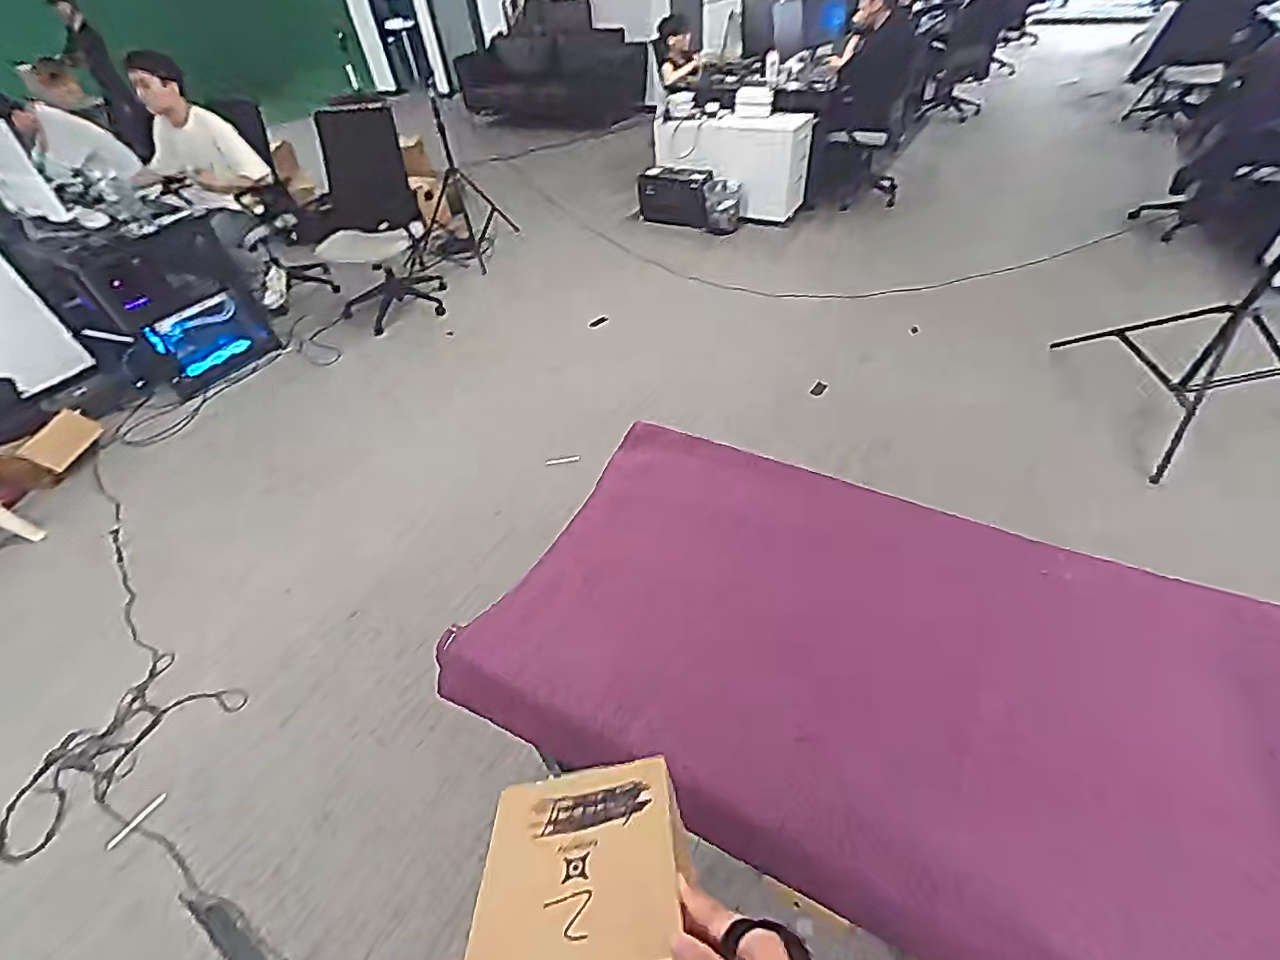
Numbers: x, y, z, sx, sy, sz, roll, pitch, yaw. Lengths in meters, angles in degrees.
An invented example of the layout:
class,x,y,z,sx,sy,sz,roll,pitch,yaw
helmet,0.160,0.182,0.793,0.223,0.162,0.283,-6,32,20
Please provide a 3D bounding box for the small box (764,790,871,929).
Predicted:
class,x,y,z,sx,sy,sz,roll,pitch,yaw
small box,0.375,0.818,1.163,0.168,0.176,0.179,21,50,24
